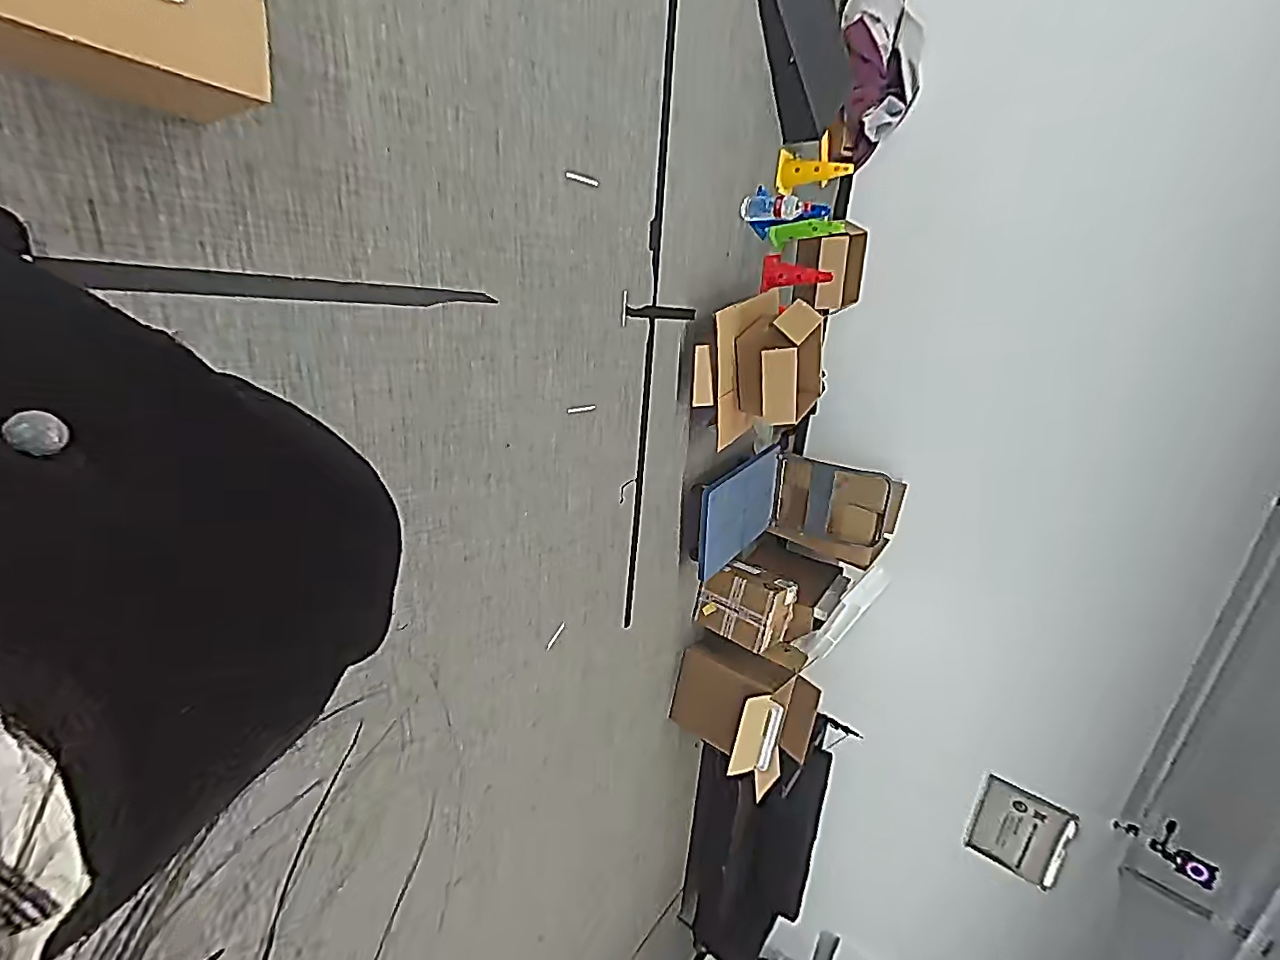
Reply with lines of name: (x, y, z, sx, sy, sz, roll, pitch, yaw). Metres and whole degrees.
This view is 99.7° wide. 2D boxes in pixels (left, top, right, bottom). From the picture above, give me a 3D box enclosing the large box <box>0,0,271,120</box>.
large box: (-0.846, -0.785, 0.795, 0.408, 0.320, 0.320, -16, 118, -51)
